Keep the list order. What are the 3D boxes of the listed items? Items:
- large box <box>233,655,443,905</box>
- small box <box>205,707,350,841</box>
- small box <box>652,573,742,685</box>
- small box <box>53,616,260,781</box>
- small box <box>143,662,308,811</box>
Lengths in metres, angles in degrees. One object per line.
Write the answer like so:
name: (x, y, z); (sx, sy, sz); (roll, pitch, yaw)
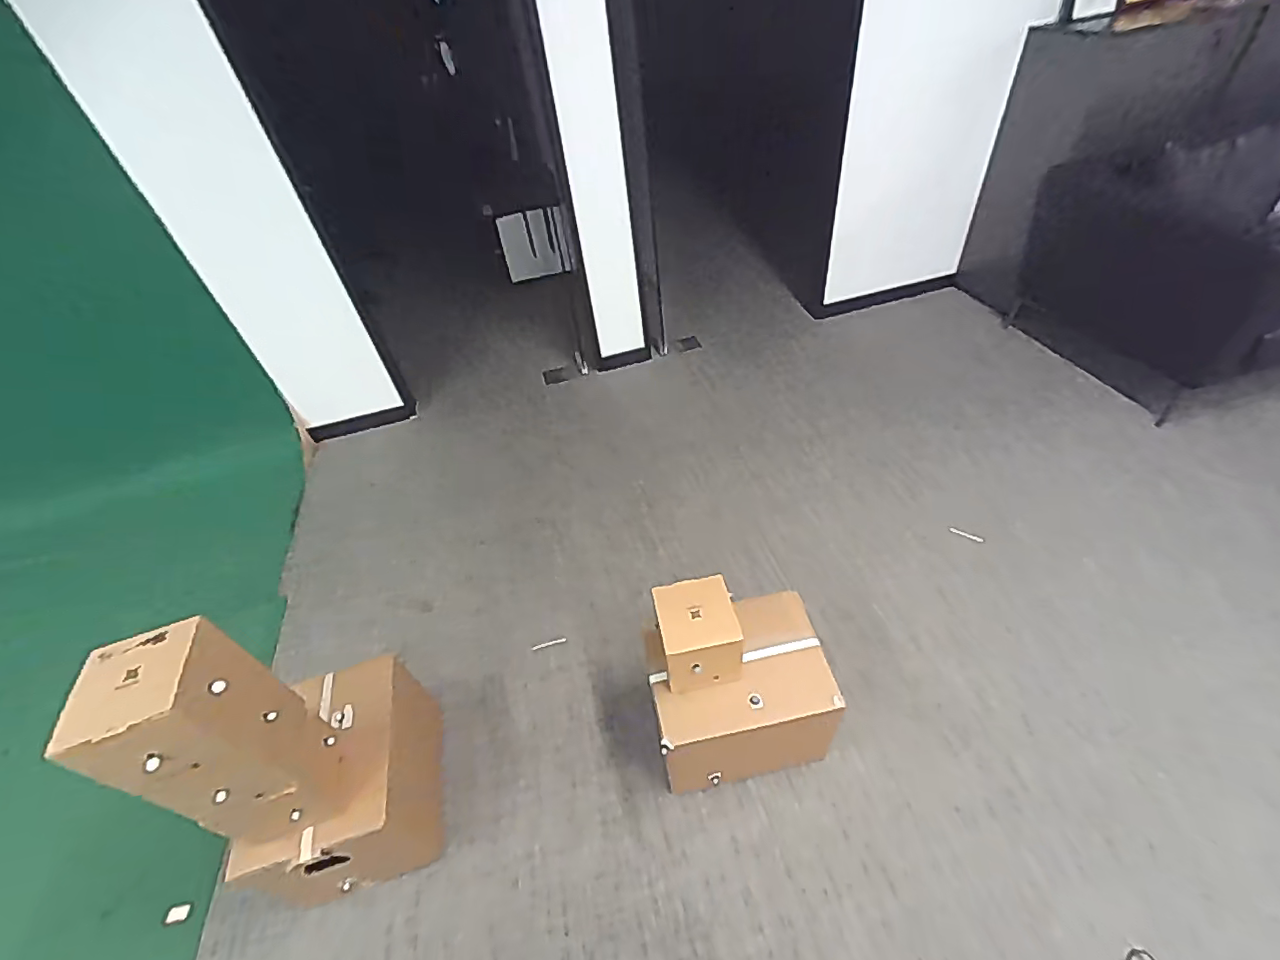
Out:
large box: (-0.692, 0.719, 1.318); (0.320, 0.320, 0.408); (-16, 44, -7)
small box: (-0.717, 0.596, 1.097); (0.179, 0.176, 0.168); (-17, 44, -7)
small box: (0.129, 0.342, 1.219); (0.168, 0.176, 0.179); (-11, 42, -3)
small box: (-0.754, 0.358, 0.873); (0.168, 0.176, 0.179); (-18, 45, -9)
small box: (-0.737, 0.475, 0.988); (0.168, 0.176, 0.179); (-19, 44, -11)
